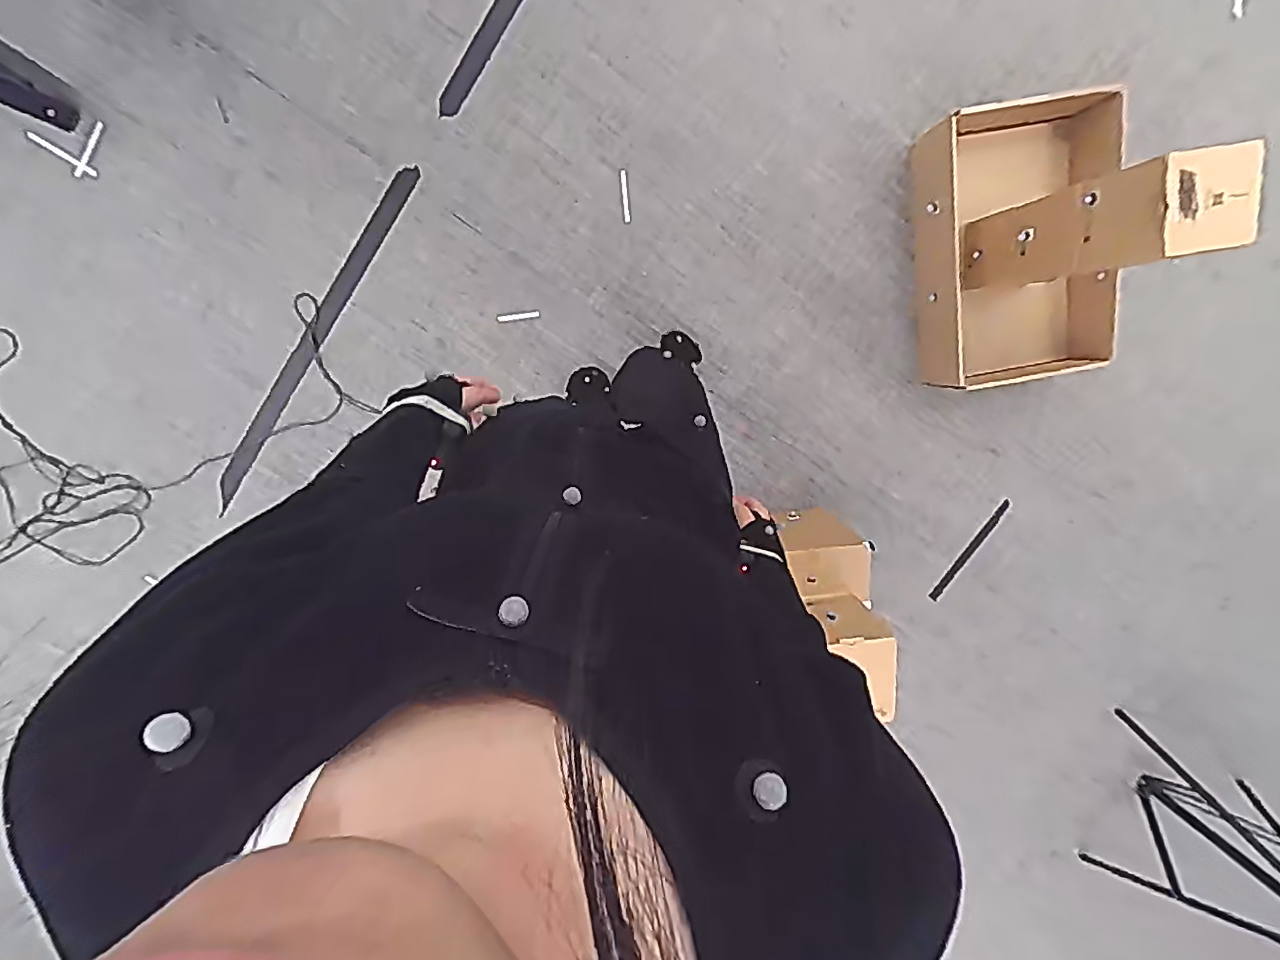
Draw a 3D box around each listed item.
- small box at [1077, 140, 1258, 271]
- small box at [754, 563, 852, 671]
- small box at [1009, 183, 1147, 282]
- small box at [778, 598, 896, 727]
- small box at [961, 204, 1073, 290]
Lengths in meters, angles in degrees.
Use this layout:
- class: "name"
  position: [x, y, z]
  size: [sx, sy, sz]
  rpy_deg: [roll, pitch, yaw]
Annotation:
- class: "small box"
  position: [0.951, -0.492, 0.991]
  size: [0.179, 0.176, 0.168]
  rpy_deg: [-10, 103, -4]
- class: "small box"
  position: [0.354, 0.294, 1.196]
  size: [0.168, 0.176, 0.179]
  rpy_deg: [-6, 104, -3]
- class: "small box"
  position: [0.933, -0.525, 1.151]
  size: [0.179, 0.176, 0.168]
  rpy_deg: [-8, 102, -2]
- class: "small box"
  position: [0.369, 0.338, 1.039]
  size: [0.168, 0.176, 0.179]
  rpy_deg: [-5, 103, -2]
- class: "small box"
  position: [0.919, -0.562, 1.309]
  size: [0.179, 0.176, 0.168]
  rpy_deg: [-7, 103, -3]
